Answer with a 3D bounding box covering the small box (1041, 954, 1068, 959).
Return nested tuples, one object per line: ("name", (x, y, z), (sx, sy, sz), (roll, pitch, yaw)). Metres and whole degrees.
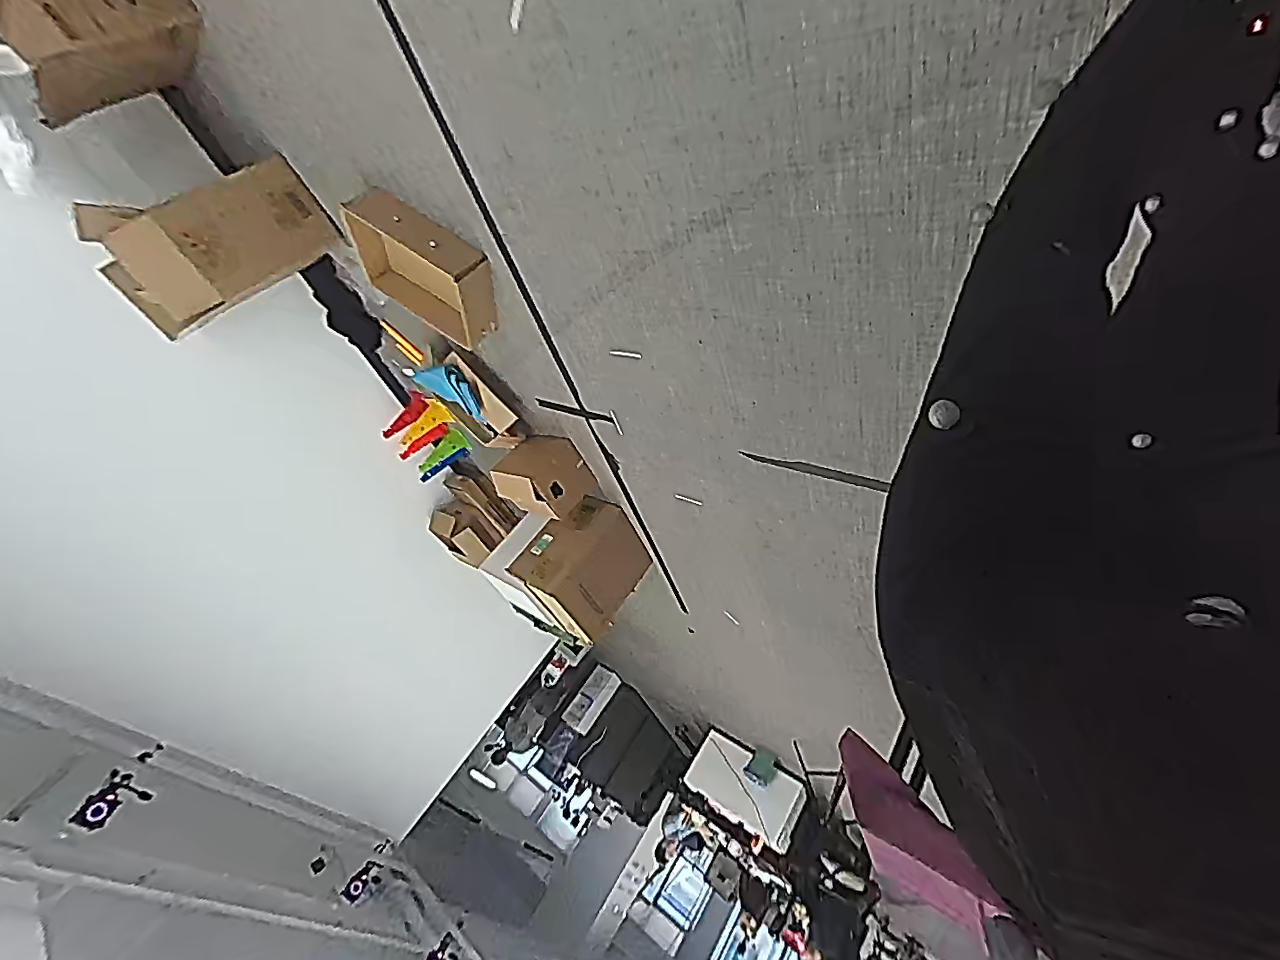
("small box", (1.309, 1.574, 1.625), (0.179, 0.176, 0.168), (21, 149, 34))
